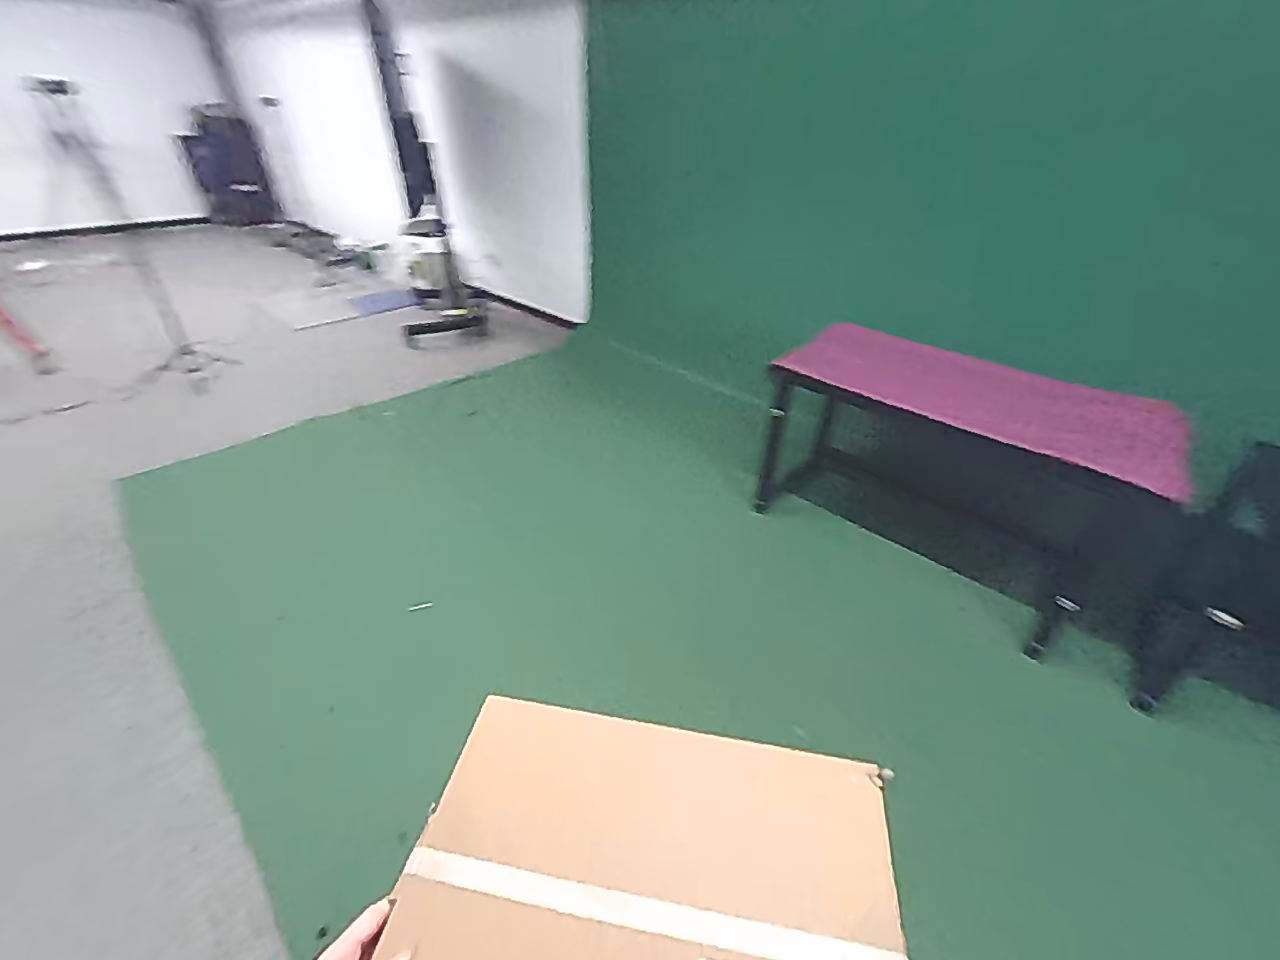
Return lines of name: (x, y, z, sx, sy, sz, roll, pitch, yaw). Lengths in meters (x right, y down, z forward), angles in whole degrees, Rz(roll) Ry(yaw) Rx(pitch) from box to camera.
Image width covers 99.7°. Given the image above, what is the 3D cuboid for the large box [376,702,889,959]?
large box: (-0.003, 0.470, 0.541, 0.408, 0.320, 0.320, 6, 39, 7)
